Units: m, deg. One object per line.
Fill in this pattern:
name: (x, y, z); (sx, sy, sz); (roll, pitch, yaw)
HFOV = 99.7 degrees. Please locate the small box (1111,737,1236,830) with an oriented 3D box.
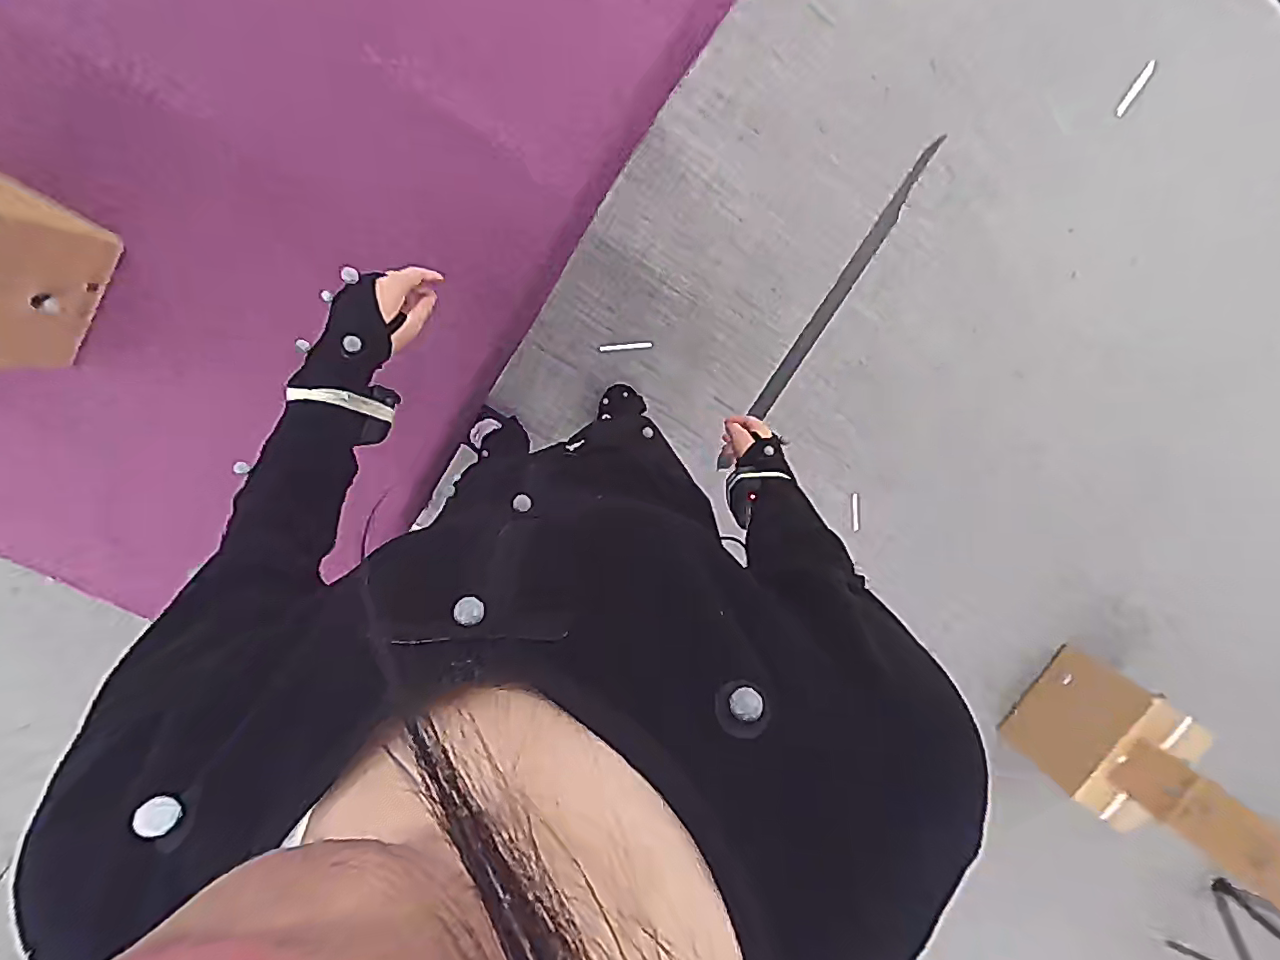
small box: (1.548, 0.895, 1.581); (0.168, 0.176, 0.179); (29, 99, -13)

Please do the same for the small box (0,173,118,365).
small box: (-0.687, -0.226, 0.530); (0.179, 0.176, 0.168); (29, 98, -16)

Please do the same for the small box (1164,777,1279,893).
small box: (1.565, 0.925, 1.423); (0.179, 0.176, 0.168); (30, 98, -12)
